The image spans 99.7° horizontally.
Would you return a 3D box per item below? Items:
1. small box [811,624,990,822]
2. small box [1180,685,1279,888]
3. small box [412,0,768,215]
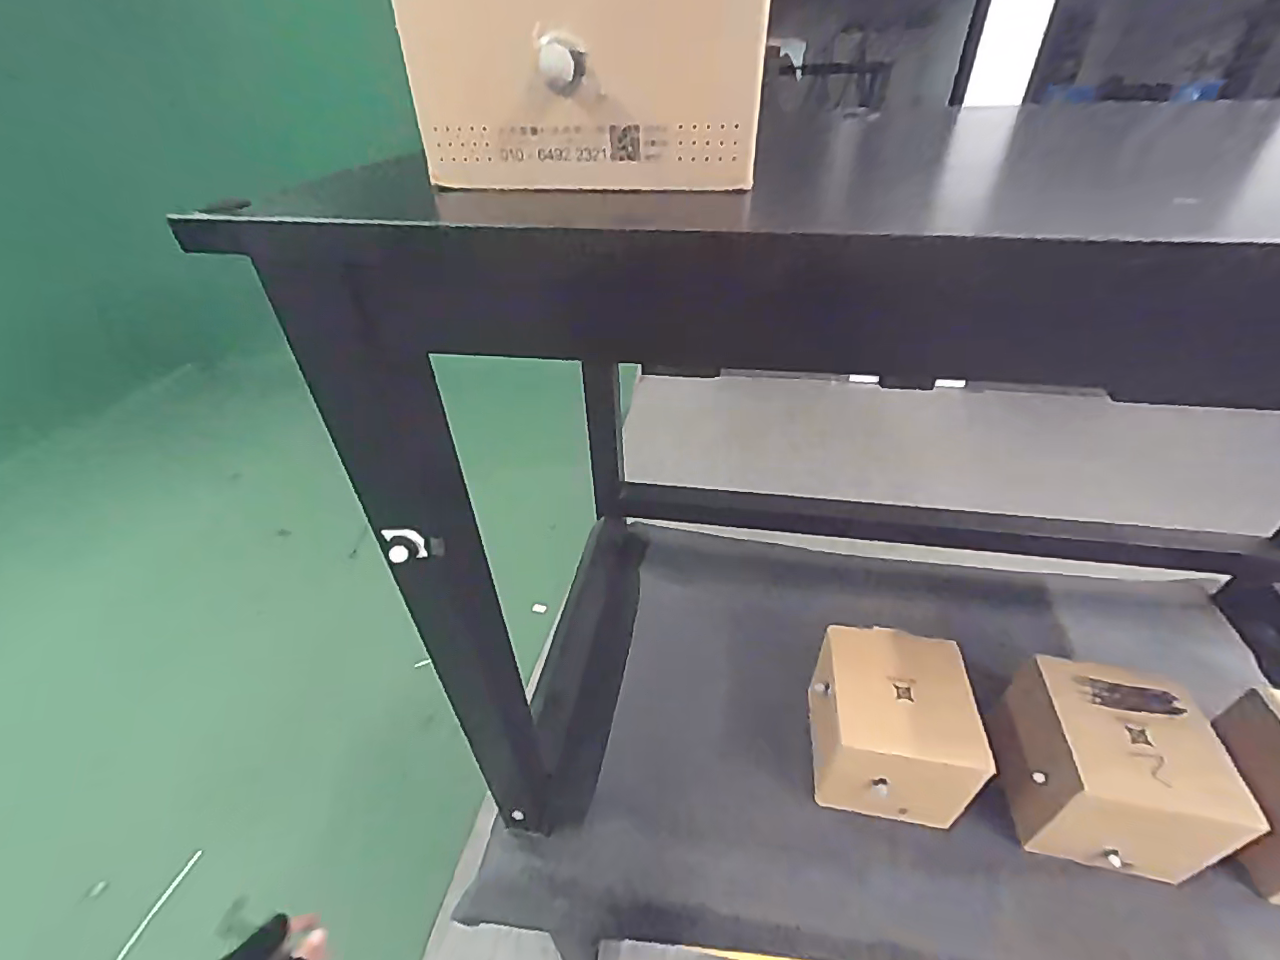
[{"bbox_3d":[0.329,0.324,0.724,0.168,0.176,0.179,5,38,9],"label":"small box"},{"bbox_3d":[0.811,0.372,0.630,0.168,0.176,0.179,5,37,9],"label":"small box"},{"bbox_3d":[-0.016,-0.256,0.294,0.168,0.176,0.179,4,39,8],"label":"small box"}]
